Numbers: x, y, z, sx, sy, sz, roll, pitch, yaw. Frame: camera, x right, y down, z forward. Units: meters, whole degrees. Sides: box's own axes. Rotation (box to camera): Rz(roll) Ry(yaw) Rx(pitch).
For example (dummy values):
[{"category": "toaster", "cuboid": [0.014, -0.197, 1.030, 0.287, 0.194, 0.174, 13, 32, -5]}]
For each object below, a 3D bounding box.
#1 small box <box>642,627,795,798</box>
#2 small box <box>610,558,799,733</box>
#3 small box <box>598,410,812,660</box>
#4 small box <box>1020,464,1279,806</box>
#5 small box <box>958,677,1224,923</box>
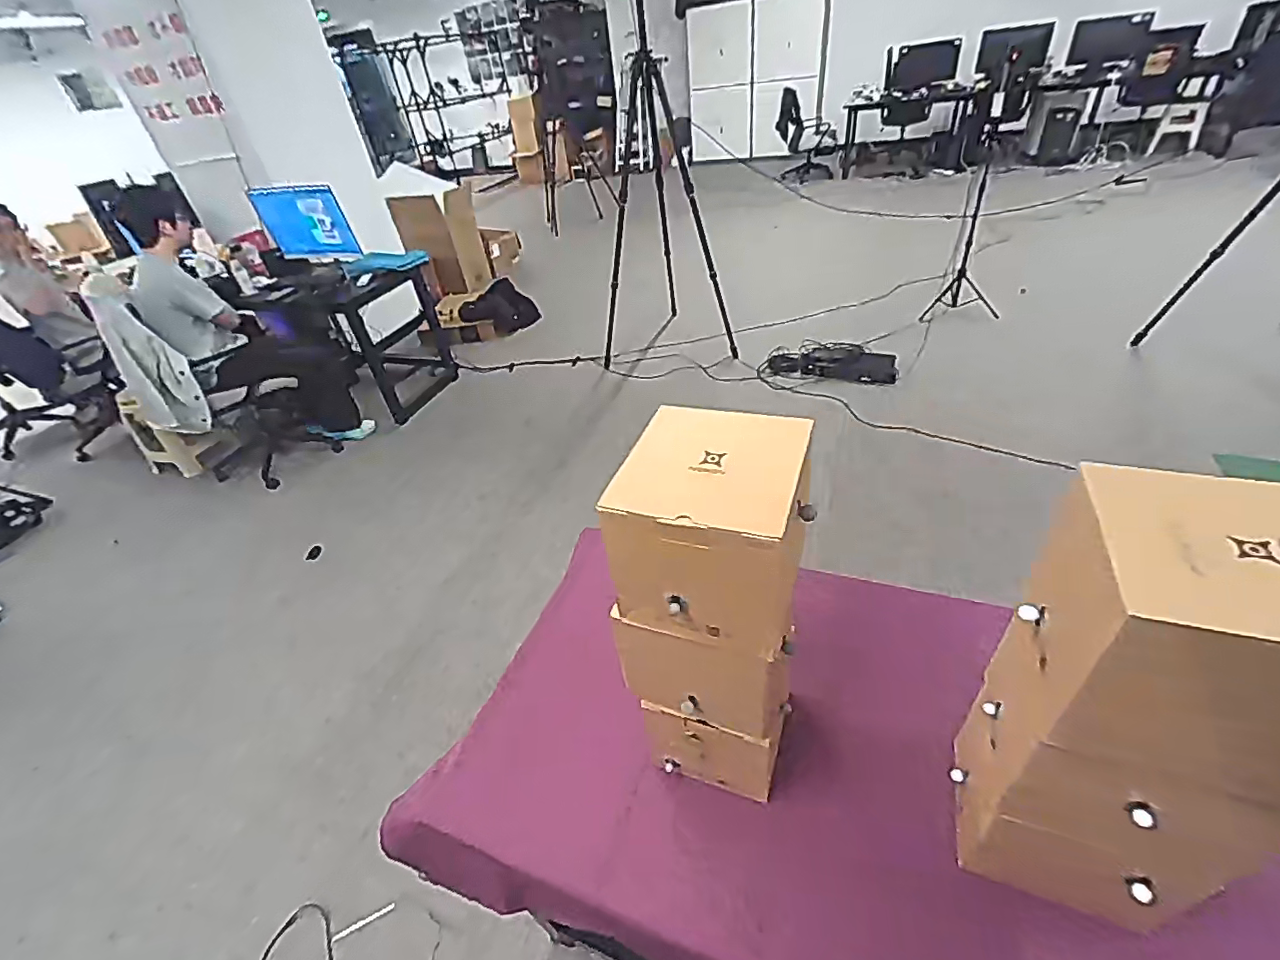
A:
[{"category": "small box", "cuboid": [0.118, 0.307, 0.759, 0.168, 0.176, 0.179, 9, 41, 21]}, {"category": "small box", "cuboid": [0.086, 0.179, 0.661, 0.179, 0.176, 0.168, 10, 42, 22]}, {"category": "small box", "cuboid": [0.076, 0.050, 0.560, 0.168, 0.176, 0.179, 8, 42, 22]}, {"category": "small box", "cuboid": [0.420, 0.112, 0.408, 0.179, 0.176, 0.168, 9, 41, 23]}, {"category": "small box", "cuboid": [0.480, 0.361, 0.614, 0.179, 0.176, 0.168, 9, 41, 22]}]
